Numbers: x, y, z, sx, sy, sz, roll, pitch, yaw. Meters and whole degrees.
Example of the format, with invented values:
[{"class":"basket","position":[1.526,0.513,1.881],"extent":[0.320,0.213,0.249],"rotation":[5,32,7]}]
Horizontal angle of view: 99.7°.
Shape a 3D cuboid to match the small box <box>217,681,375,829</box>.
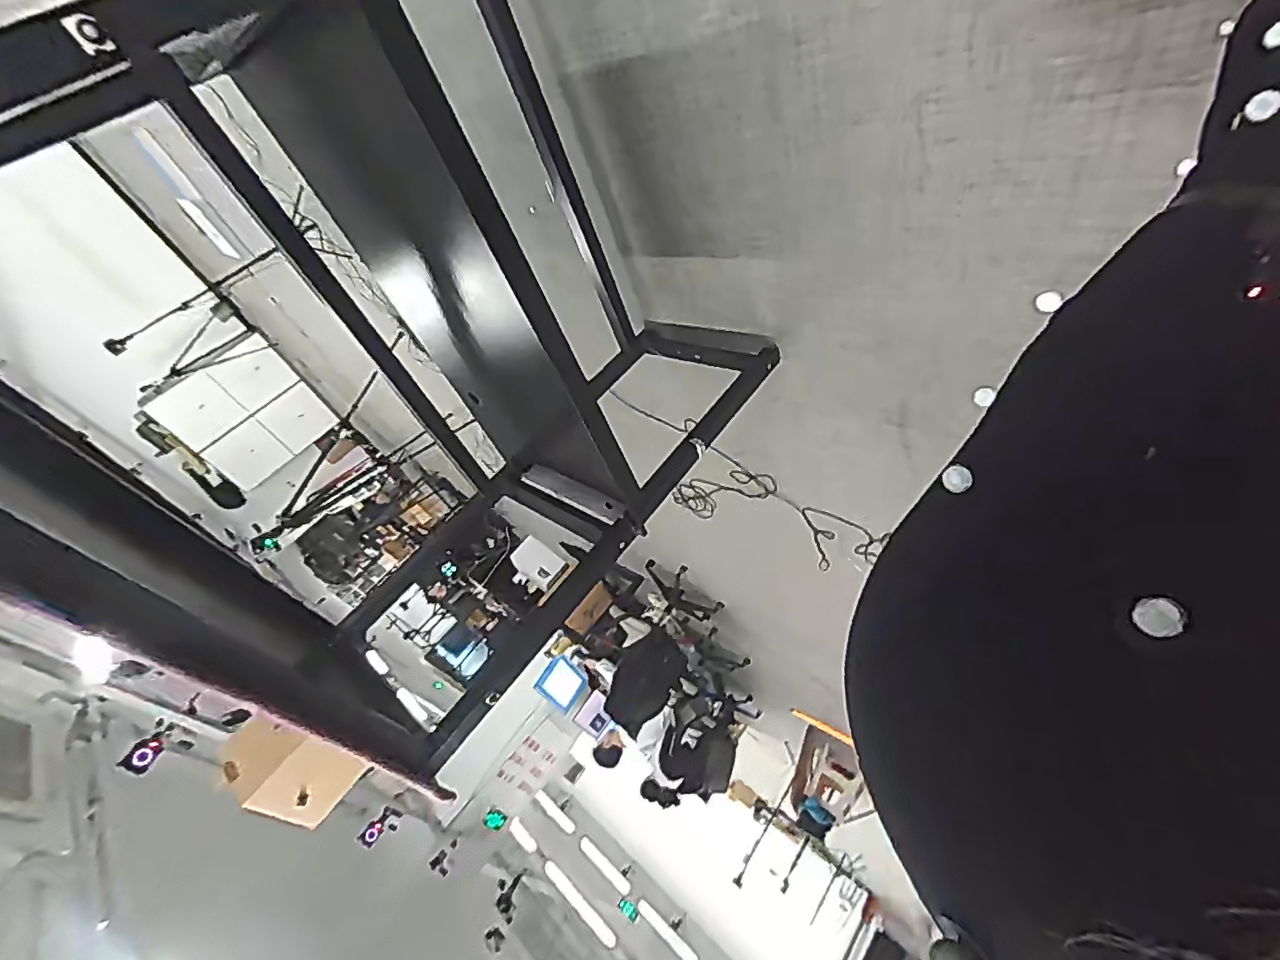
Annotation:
[{"class":"small box","position":[-0.661,0.531,1.055],"extent":[0.168,0.176,0.179],"rotation":[21,149,39]}]
